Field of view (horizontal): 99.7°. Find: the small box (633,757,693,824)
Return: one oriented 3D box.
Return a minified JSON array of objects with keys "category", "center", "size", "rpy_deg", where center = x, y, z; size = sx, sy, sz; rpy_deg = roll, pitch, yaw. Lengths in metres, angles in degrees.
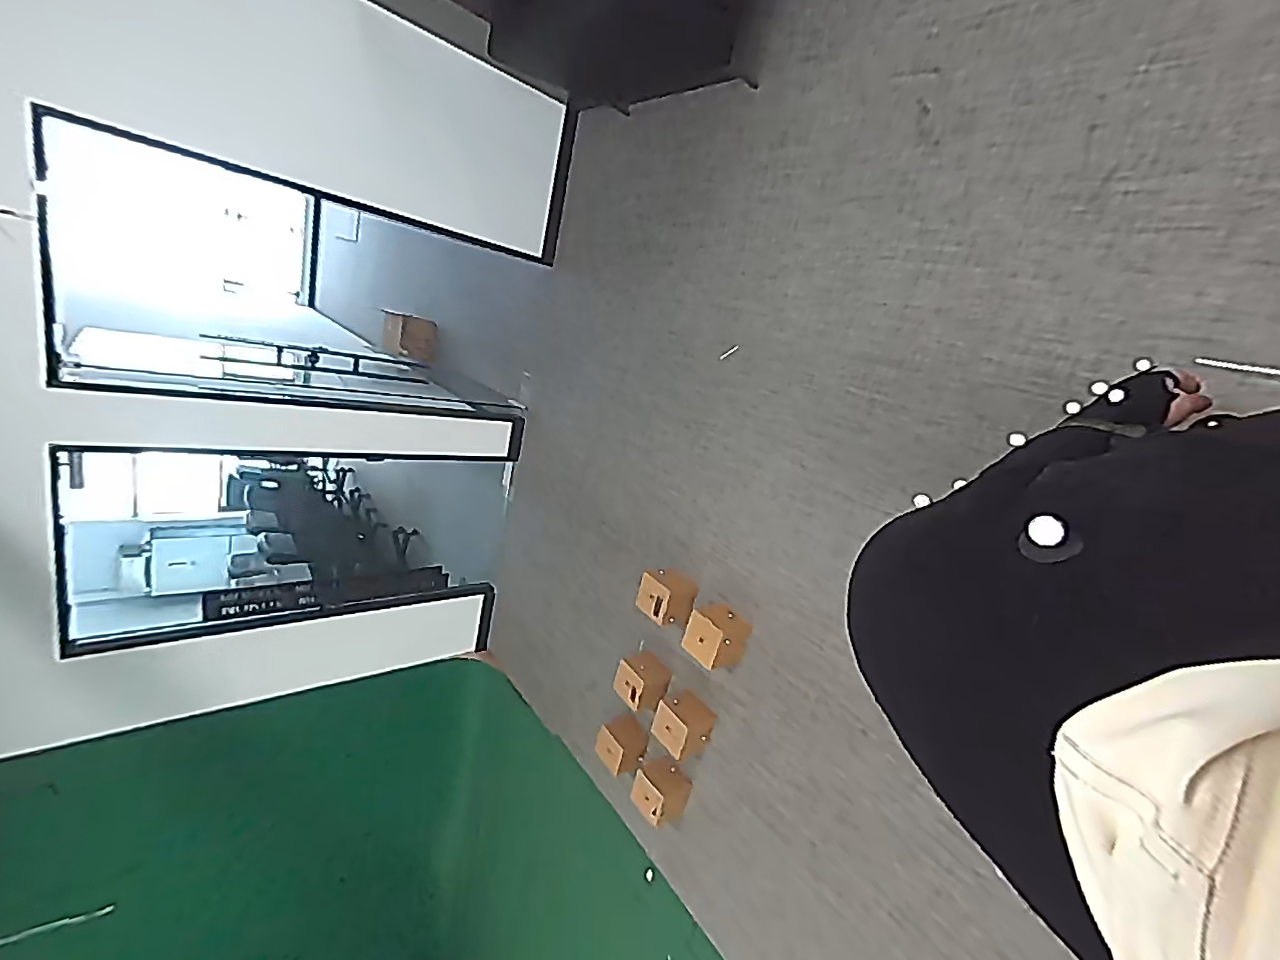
[{"category":"small box","center":[0.100,1.328,2.333],"size":[0.179,0.176,0.168],"rpy_deg":[31,114,46]}]

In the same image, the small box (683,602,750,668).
[{"category":"small box","center":[0.301,0.598,2.101],"size":[0.168,0.176,0.179],"rpy_deg":[33,113,44]}]

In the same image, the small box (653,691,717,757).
[{"category":"small box","center":[0.187,0.996,2.231],"size":[0.179,0.176,0.168],"rpy_deg":[32,114,45]}]

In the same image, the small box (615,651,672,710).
[{"category":"small box","center":[0.020,0.891,2.426],"size":[0.179,0.176,0.168],"rpy_deg":[33,114,45]}]
